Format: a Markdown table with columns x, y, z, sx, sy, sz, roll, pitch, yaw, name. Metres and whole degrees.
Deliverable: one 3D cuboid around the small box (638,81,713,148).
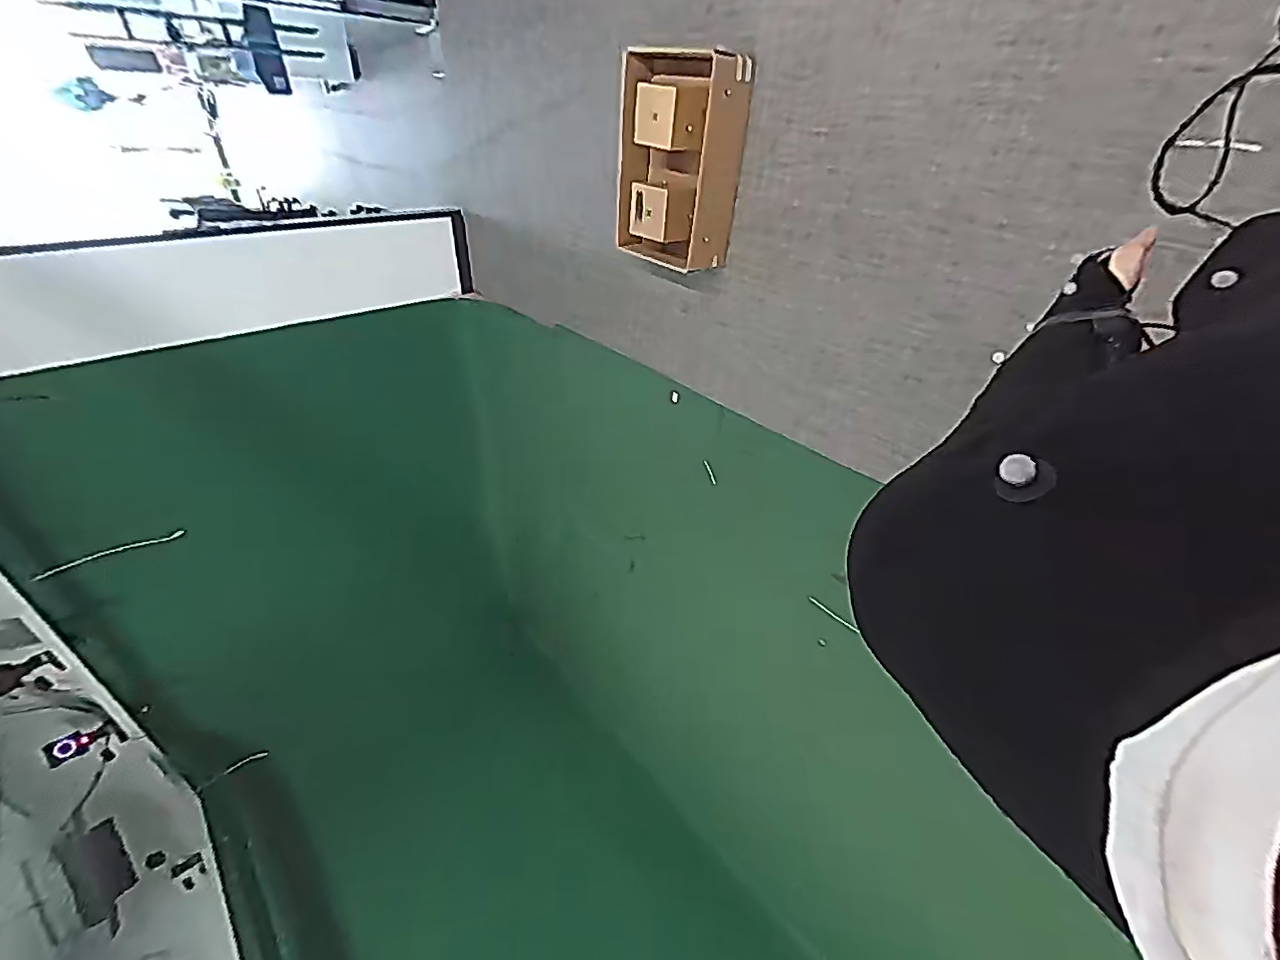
| x | y | z | sx | sy | sz | roll | pitch | yaw | name |
| --- | --- | --- | --- | --- | --- | --- | --- | --- | --- |
| 0.115 | -1.191 | 1.760 | 0.179 | 0.176 | 0.168 | 36 | 137 | 34 | small box |
